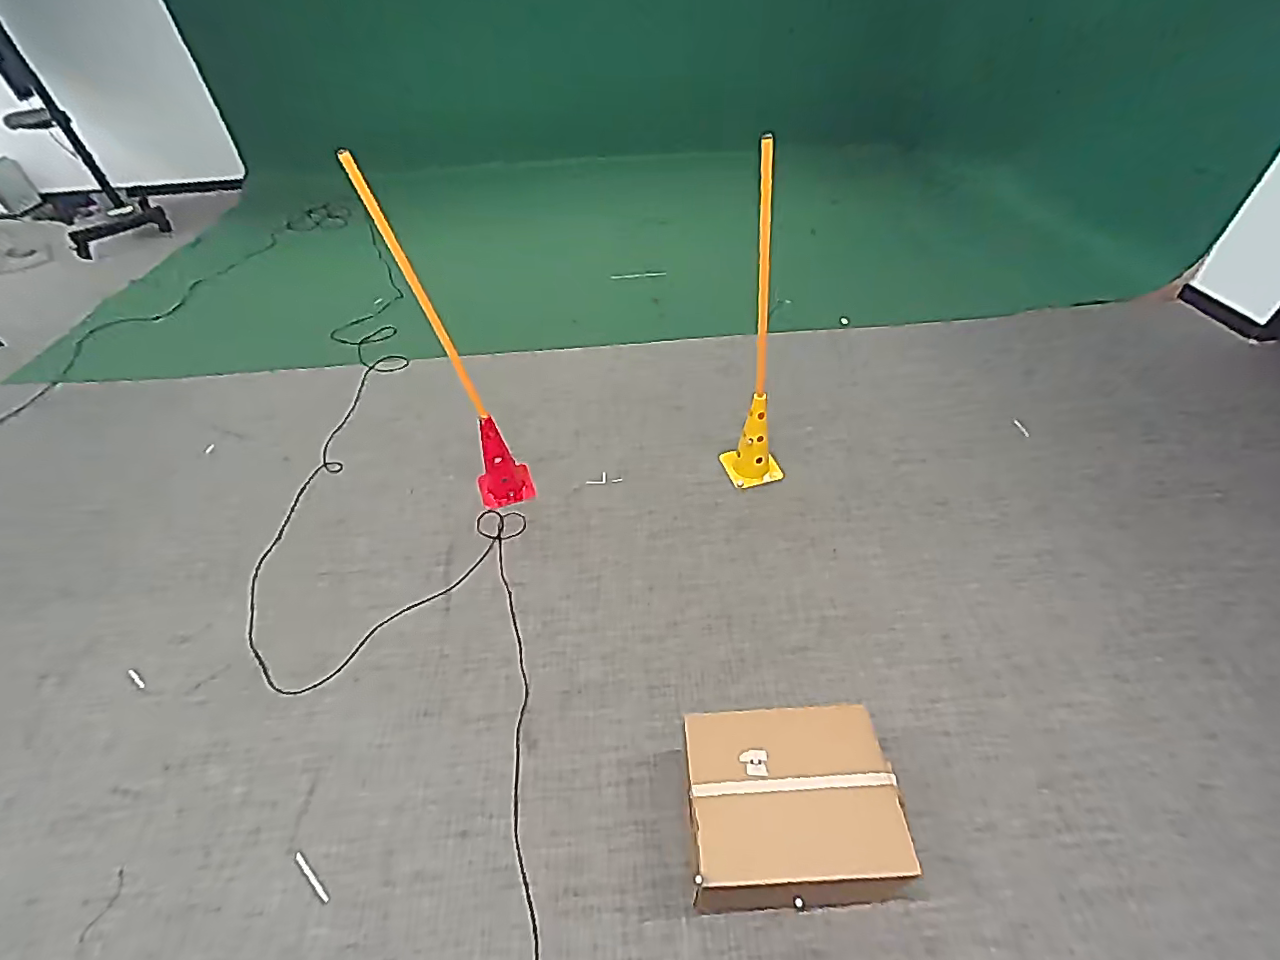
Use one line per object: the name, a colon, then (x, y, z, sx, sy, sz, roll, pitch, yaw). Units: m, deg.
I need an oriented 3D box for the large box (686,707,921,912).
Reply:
large box: (0.319, 0.729, 1.191, 0.408, 0.320, 0.320, -4, 44, 1)
